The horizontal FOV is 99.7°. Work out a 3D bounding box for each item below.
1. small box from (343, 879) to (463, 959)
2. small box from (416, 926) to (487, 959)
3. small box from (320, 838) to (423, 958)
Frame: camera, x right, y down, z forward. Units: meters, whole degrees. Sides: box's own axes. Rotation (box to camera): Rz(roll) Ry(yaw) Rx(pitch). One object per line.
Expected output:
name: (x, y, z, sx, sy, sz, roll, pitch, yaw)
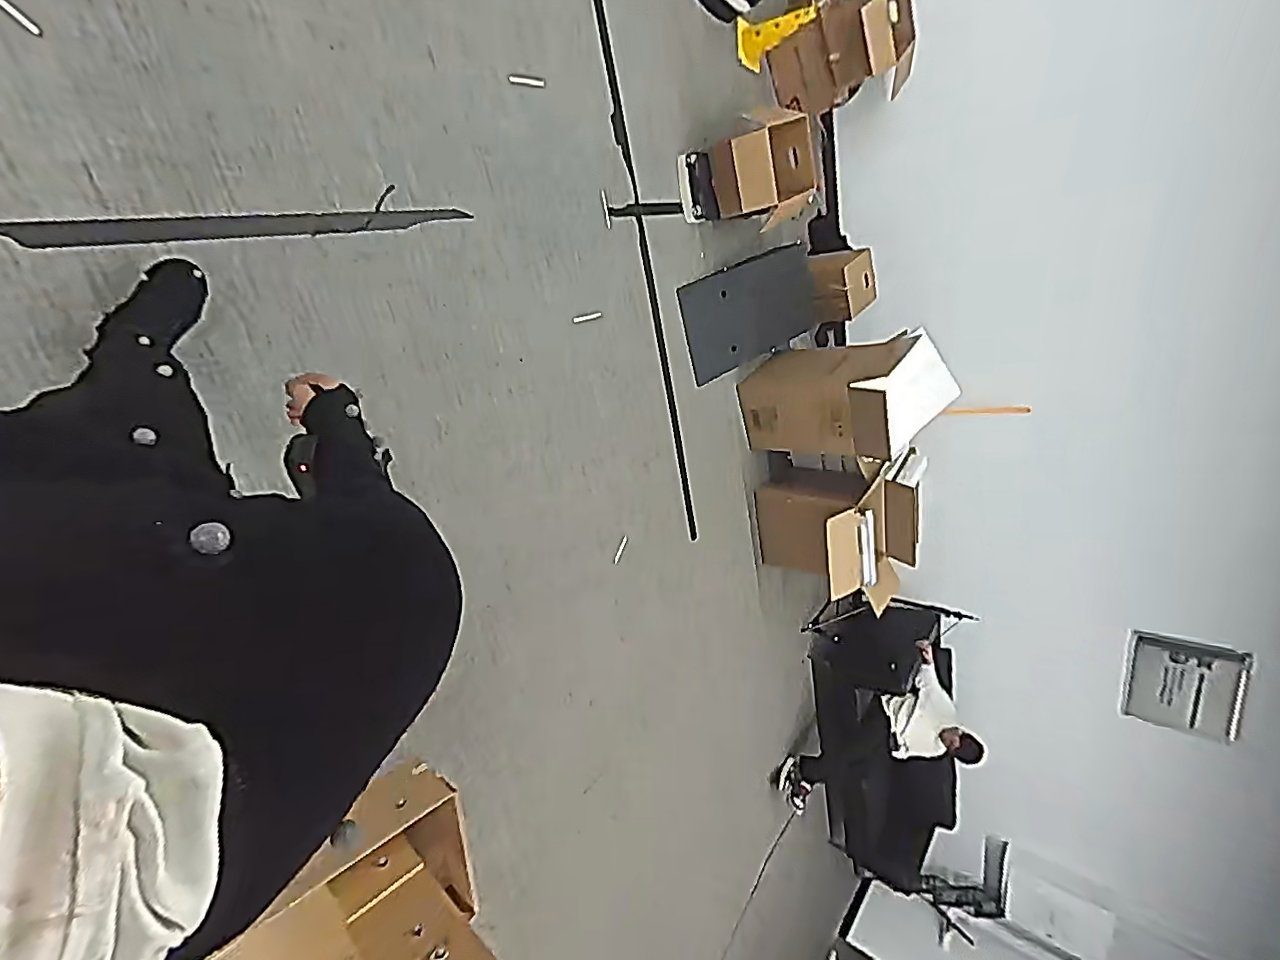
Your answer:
small box: (-0.476, 0.983, 1.110, 0.179, 0.176, 0.168, -18, 110, -44)
small box: (-0.352, 1.000, 1.004, 0.168, 0.176, 0.179, -22, 113, -45)
small box: (-0.595, 0.955, 1.220, 0.168, 0.176, 0.179, -20, 112, -44)
